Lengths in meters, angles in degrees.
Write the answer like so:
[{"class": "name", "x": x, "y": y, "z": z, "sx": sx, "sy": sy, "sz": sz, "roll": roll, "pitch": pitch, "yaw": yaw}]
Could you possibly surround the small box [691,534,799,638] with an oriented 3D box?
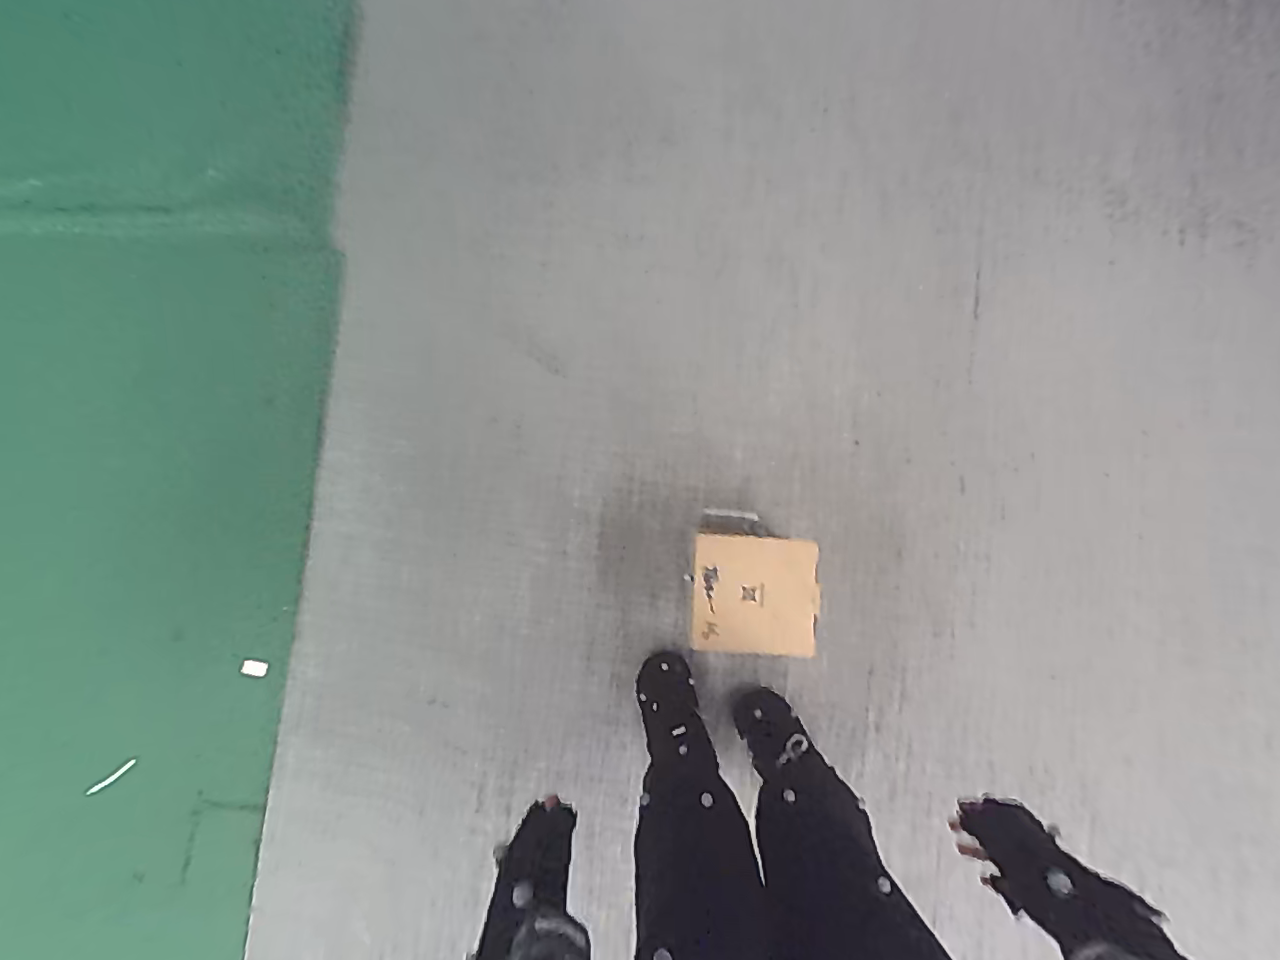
[{"class": "small box", "x": 0.190, "y": 0.190, "z": 1.017, "sx": 0.179, "sy": 0.176, "sz": 0.168, "roll": 4, "pitch": 85, "yaw": 6}]
